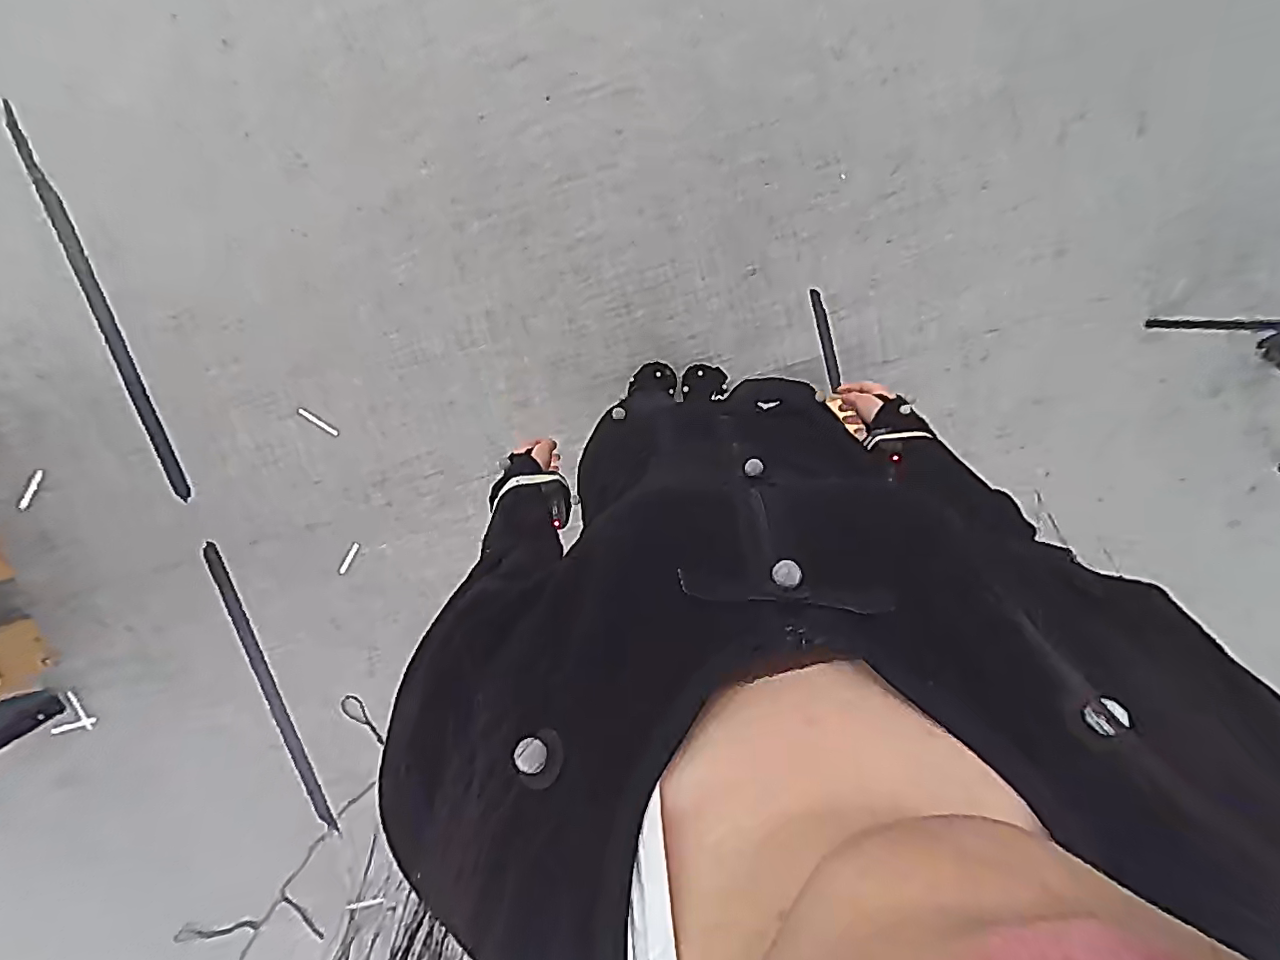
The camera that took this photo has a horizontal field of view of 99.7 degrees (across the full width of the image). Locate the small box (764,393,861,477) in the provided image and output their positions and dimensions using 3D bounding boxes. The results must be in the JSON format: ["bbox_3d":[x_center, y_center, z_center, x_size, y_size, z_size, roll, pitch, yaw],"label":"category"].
[{"bbox_3d":[0.442,-0.123,1.403,0.179,0.176,0.168,-17,102,2],"label":"small box"}]

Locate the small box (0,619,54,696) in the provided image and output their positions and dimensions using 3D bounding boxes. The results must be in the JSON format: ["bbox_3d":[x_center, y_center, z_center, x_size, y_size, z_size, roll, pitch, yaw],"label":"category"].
[{"bbox_3d":[-1.857,0.520,1.549,0.179,0.176,0.168,-14,102,4],"label":"small box"}]
